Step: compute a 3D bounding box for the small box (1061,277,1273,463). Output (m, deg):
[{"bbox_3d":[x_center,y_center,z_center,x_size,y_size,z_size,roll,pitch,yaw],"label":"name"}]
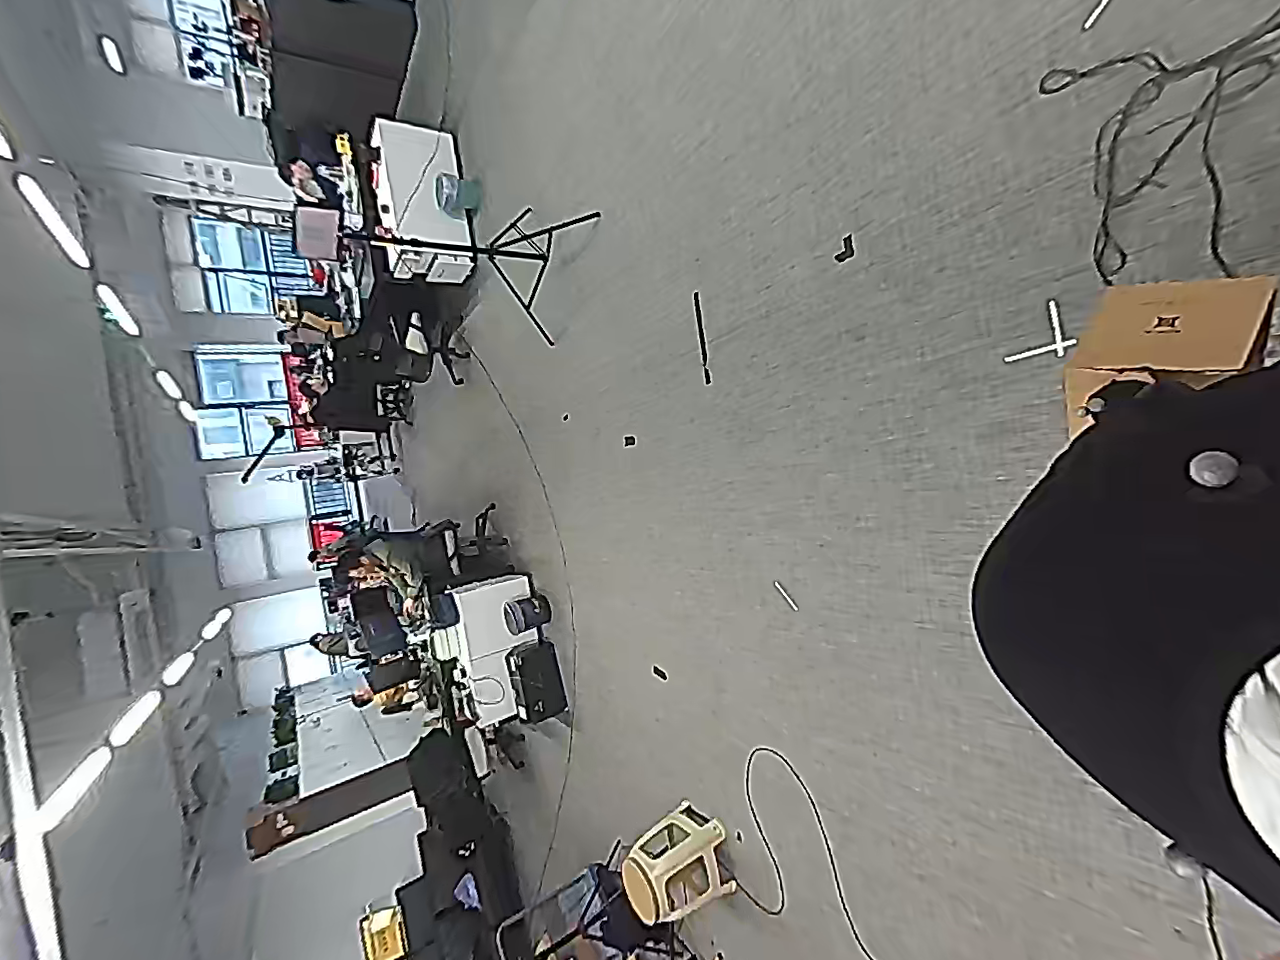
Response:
[{"bbox_3d":[0.709,-0.146,0.737,0.168,0.179,0.176,18,153,49],"label":"small box"}]
